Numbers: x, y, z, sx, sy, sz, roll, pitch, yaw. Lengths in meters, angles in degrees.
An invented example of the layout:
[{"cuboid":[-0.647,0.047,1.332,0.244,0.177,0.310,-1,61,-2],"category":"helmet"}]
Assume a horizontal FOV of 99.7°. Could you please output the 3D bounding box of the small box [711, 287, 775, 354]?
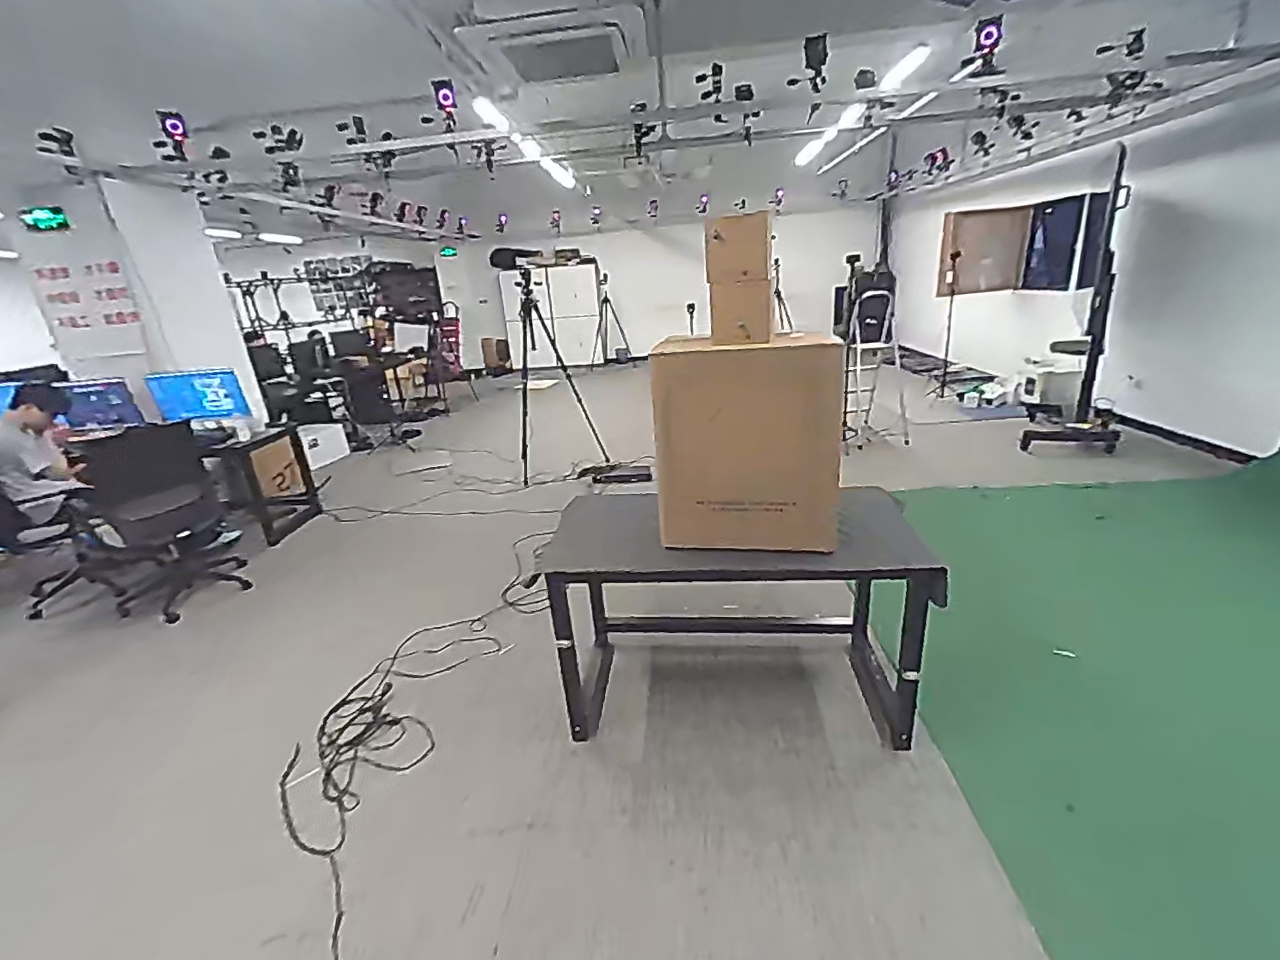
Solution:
[{"cuboid":[0.303,-0.467,1.575,0.168,0.176,0.179,2,23,17],"category":"small box"}]
